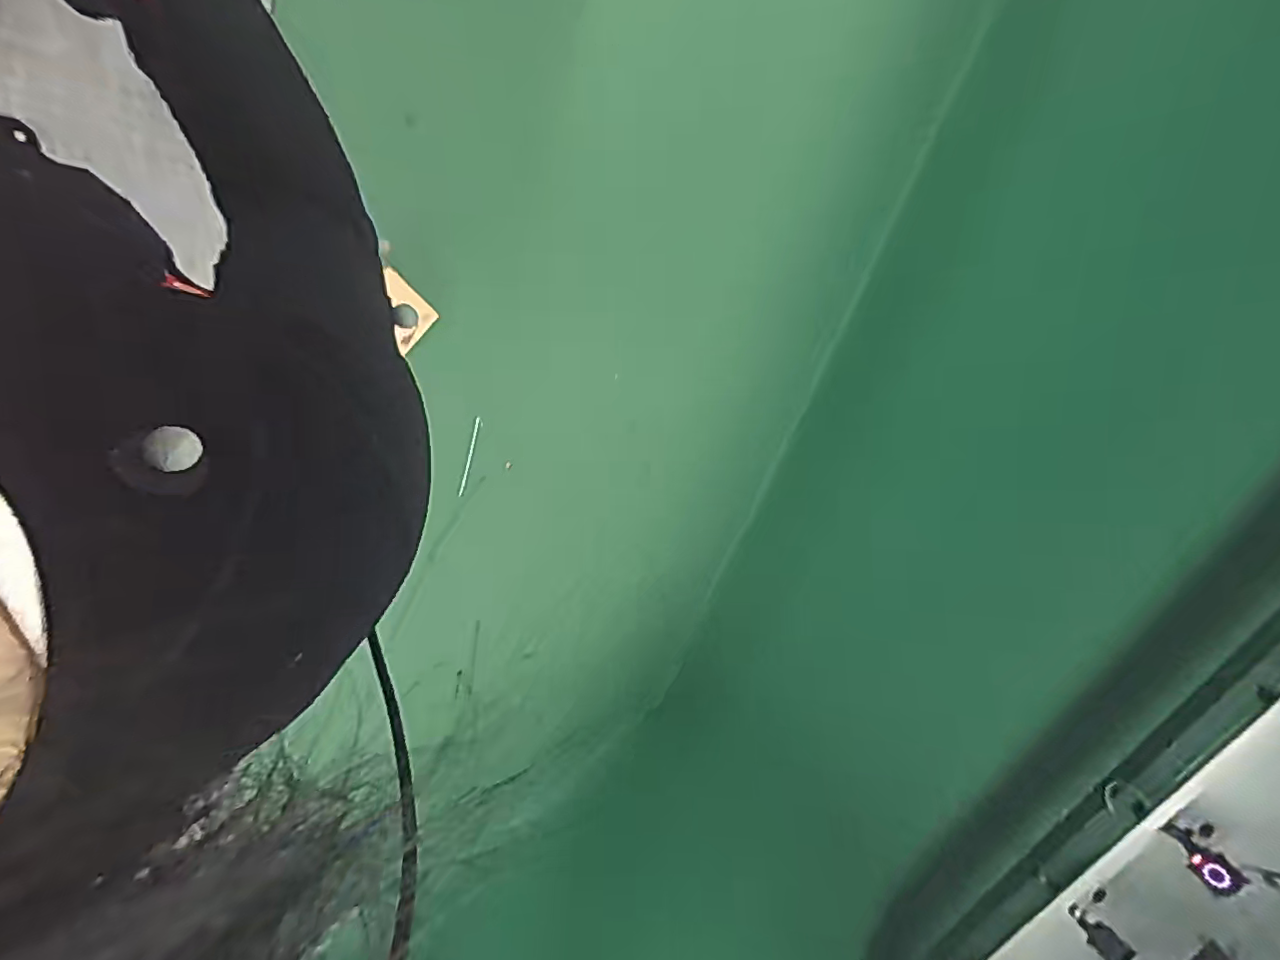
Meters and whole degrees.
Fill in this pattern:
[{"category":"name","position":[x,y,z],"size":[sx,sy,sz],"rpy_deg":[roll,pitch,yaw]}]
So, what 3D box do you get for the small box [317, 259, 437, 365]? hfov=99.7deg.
[{"category":"small box","position":[-0.656,-0.423,1.344],"size":[0.168,0.176,0.179],"rpy_deg":[-51,147,-6]}]
